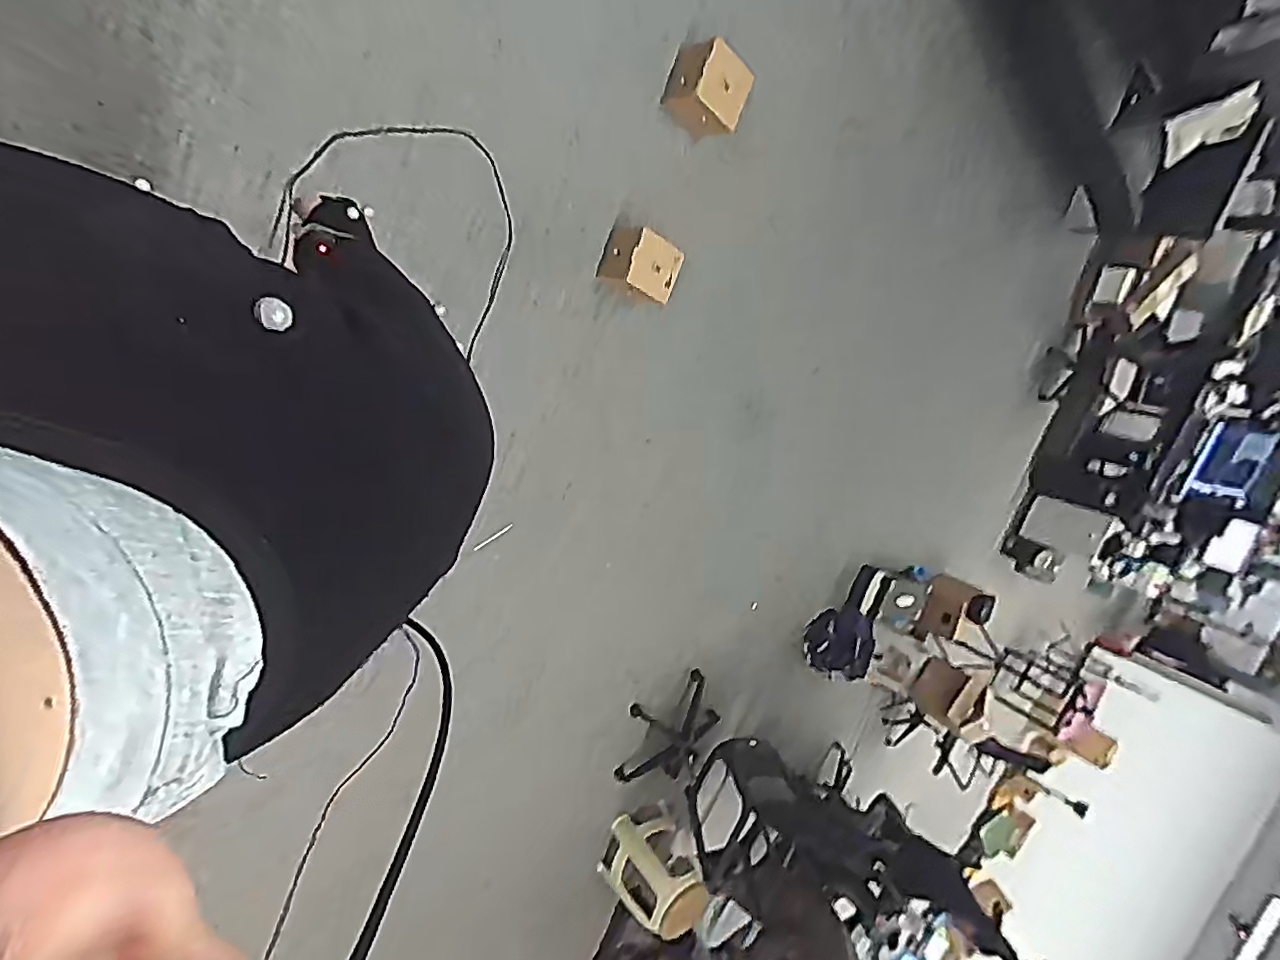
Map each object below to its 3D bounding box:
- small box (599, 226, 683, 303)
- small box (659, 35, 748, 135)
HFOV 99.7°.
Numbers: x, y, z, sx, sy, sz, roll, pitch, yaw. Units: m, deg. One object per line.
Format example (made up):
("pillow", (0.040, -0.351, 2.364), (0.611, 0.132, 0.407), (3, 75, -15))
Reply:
("small box", (-0.002, -0.666, 1.687), (0.179, 0.176, 0.168), (15, 98, -40))
("small box", (0.187, -1.176, 1.630), (0.179, 0.176, 0.168), (14, 100, -42))
